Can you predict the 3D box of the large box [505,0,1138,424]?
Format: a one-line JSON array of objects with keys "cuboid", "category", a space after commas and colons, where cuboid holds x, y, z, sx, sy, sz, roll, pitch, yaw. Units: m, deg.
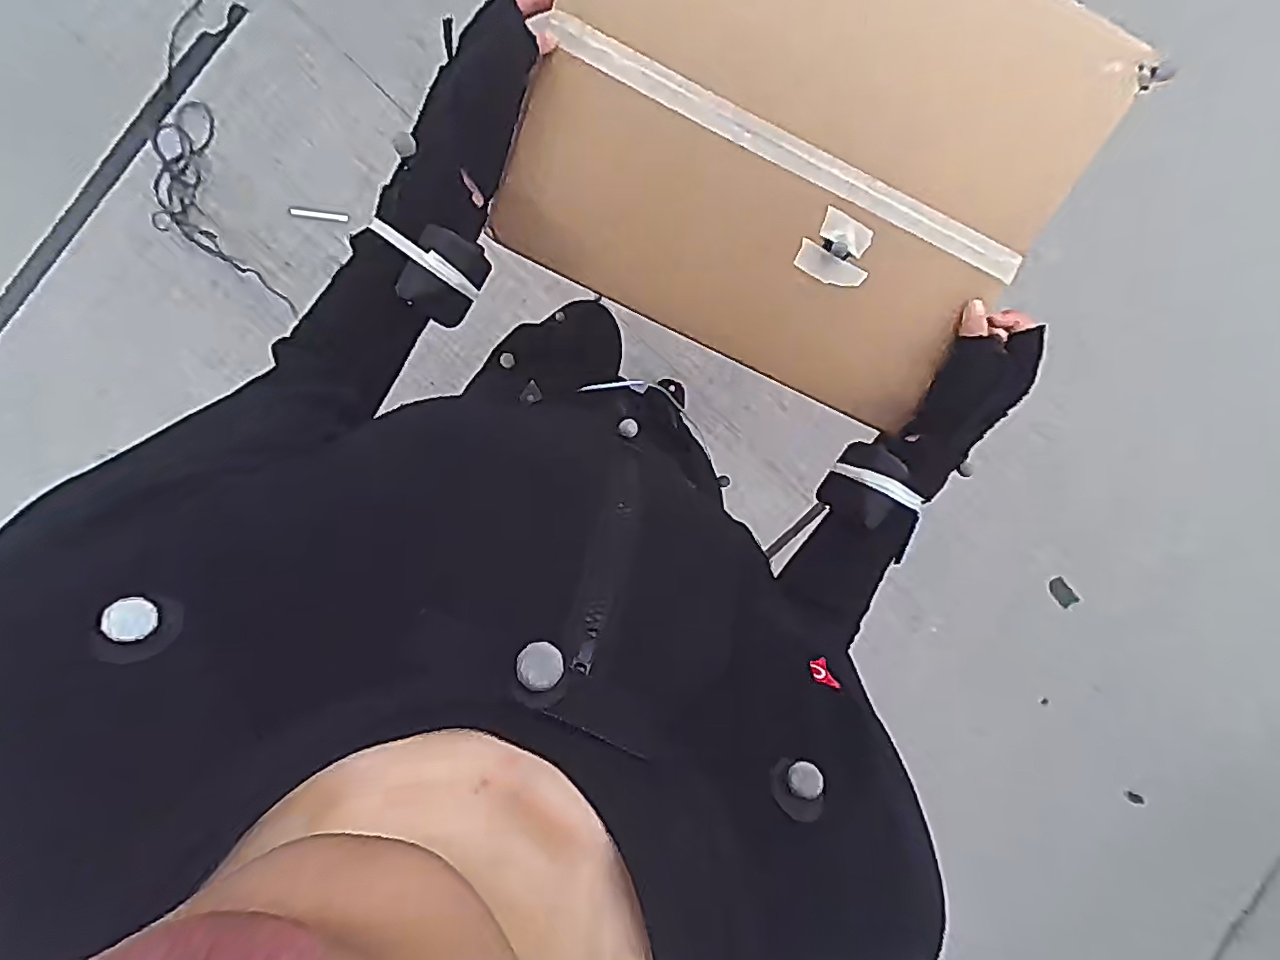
[{"cuboid": [0.131, -0.310, 0.565, 0.408, 0.320, 0.320, 25, 112, -6], "category": "large box"}]
